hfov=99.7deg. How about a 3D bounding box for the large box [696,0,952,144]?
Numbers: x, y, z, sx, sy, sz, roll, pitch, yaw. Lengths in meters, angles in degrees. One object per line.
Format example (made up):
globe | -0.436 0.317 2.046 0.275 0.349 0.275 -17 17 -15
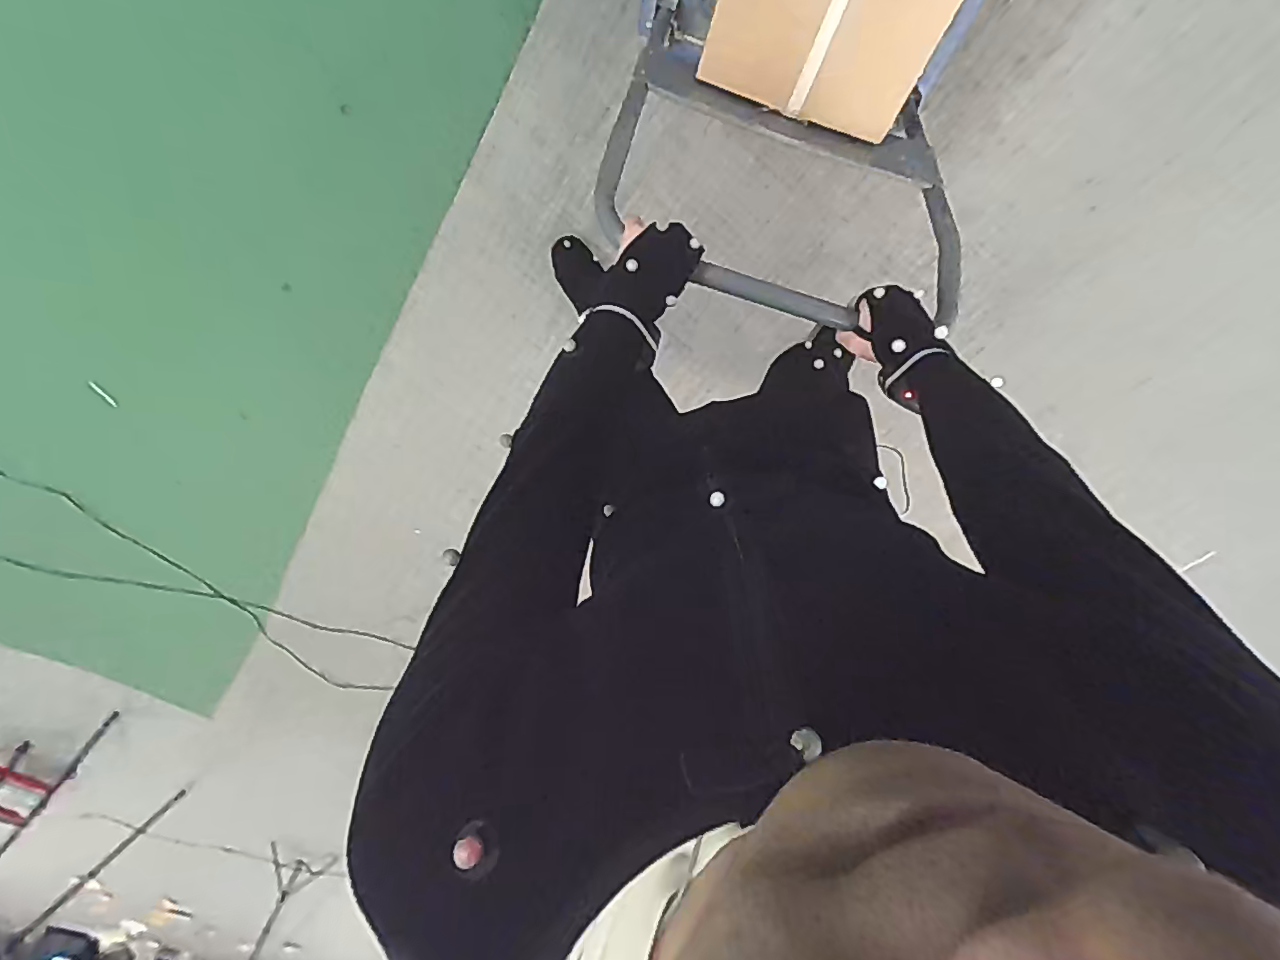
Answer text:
large box | 0.302 -0.809 0.799 0.320 0.320 0.408 16 141 -7
